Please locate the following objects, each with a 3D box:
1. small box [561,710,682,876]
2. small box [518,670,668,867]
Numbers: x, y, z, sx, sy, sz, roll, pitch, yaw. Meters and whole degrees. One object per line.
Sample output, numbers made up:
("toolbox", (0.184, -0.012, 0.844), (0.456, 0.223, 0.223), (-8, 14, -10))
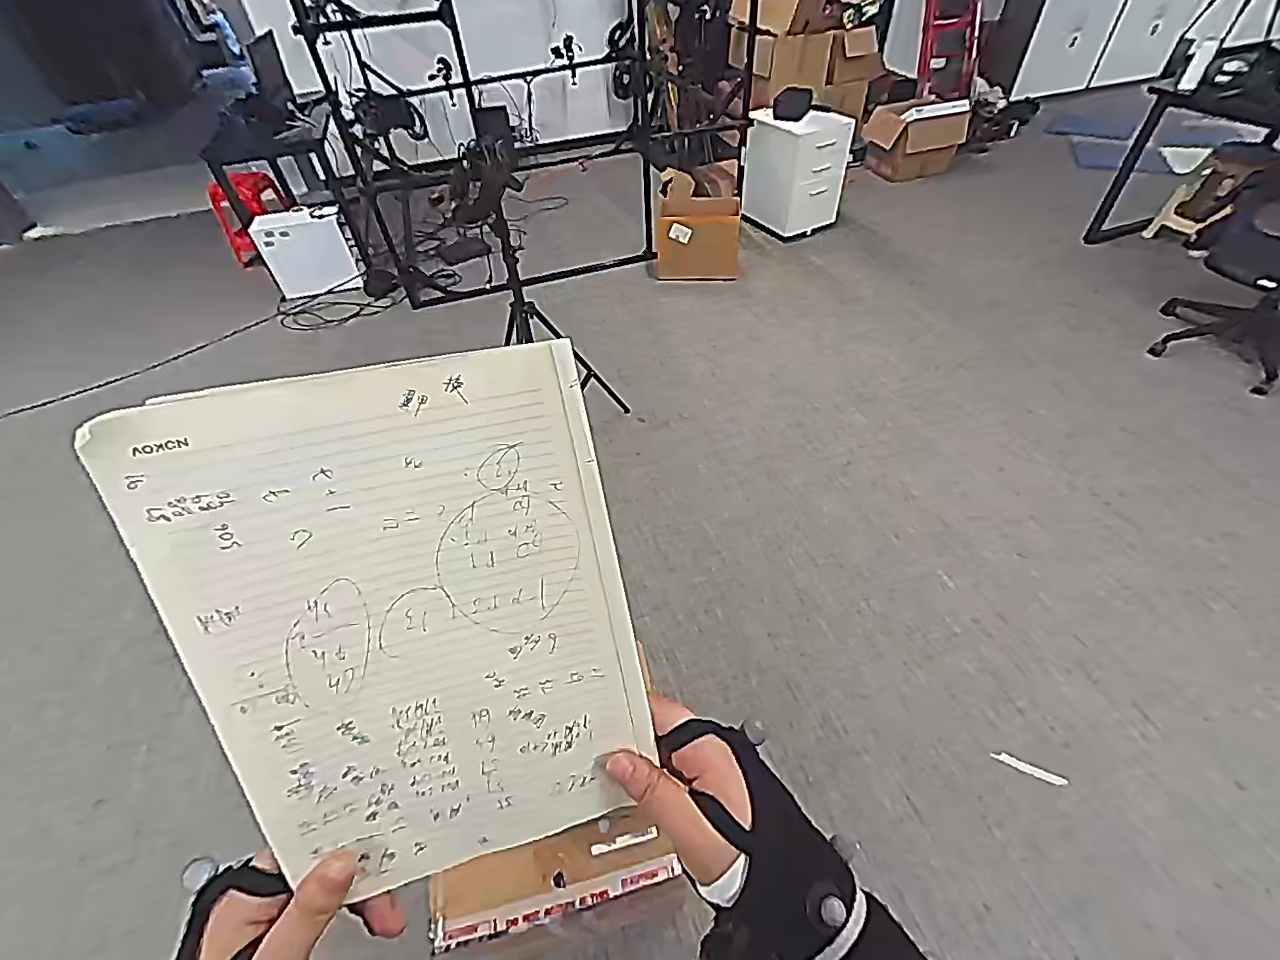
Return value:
("small box", (-0.045, 0.487, 0.841), (0.179, 0.176, 0.168), (-12, 48, -10))
("small box", (-0.065, 0.381, 0.715), (0.168, 0.176, 0.179), (-9, 49, -8))
